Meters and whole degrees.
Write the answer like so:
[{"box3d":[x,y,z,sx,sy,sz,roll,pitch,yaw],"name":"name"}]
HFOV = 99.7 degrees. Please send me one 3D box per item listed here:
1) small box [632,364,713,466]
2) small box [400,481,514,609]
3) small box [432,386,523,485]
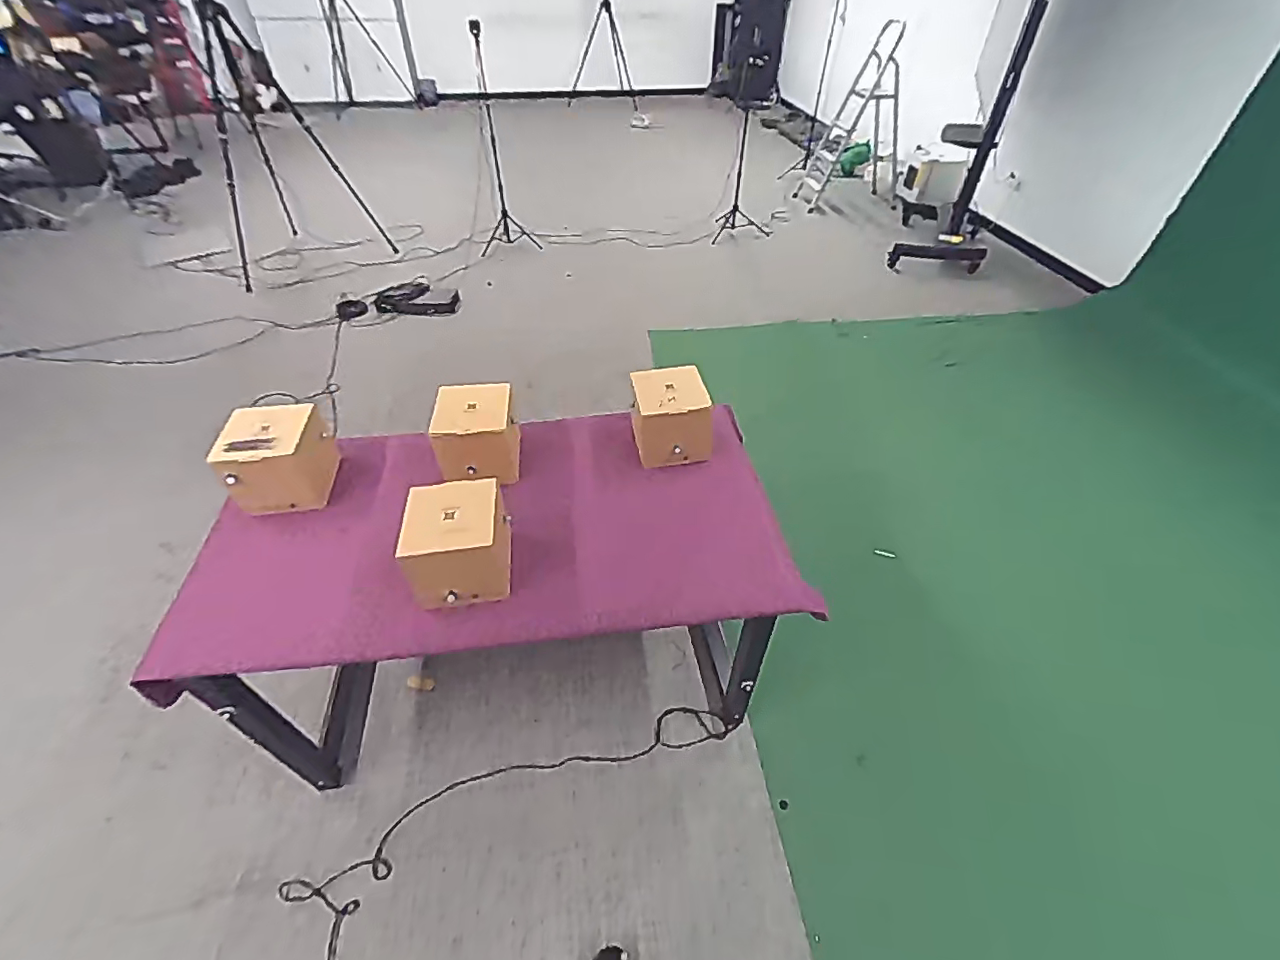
[{"box3d":[0.075,-0.158,1.323,0.168,0.176,0.179,-9,46,-4],"name":"small box"},{"box3d":[-0.345,0.126,1.053,0.168,0.176,0.179,-7,44,-5],"name":"small box"},{"box3d":[-0.376,-0.103,1.284,0.168,0.176,0.179,-5,47,-4],"name":"small box"}]
